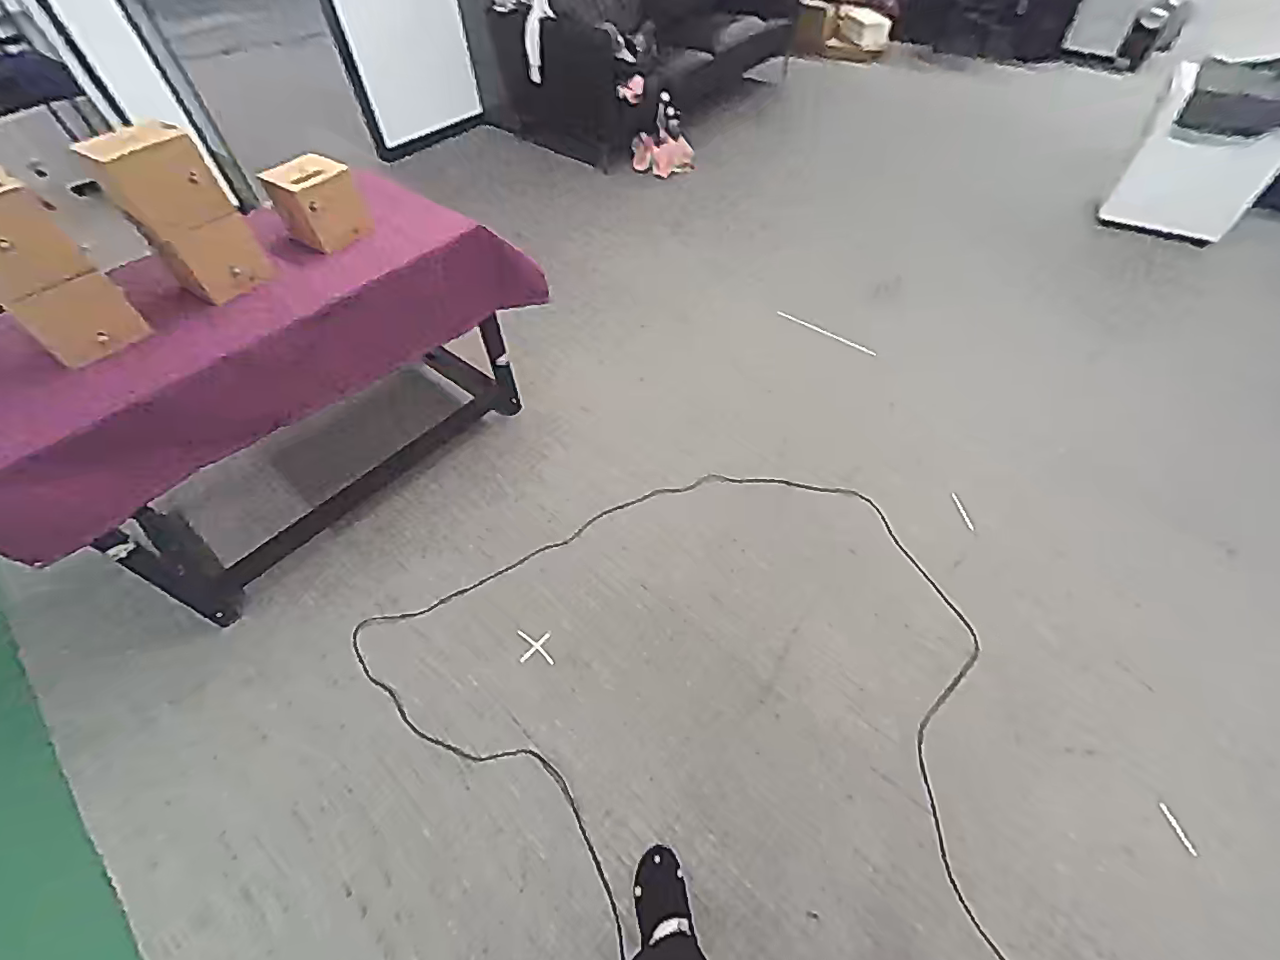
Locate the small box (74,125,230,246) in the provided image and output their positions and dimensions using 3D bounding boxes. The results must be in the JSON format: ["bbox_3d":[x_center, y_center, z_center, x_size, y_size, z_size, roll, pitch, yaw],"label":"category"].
[{"bbox_3d":[-1.067,-0.655,1.204,0.168,0.176,0.179,28,59,23],"label":"small box"}]

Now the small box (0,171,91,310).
[{"bbox_3d":[-1.254,-0.472,1.068,0.168,0.176,0.179,32,61,24],"label":"small box"}]

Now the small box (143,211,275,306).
[{"bbox_3d":[-1.062,-0.559,1.336,0.179,0.176,0.168,27,59,20],"label":"small box"}]

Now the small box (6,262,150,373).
[{"bbox_3d":[-1.249,-0.371,1.198,0.168,0.176,0.179,31,60,24],"label":"small box"}]
